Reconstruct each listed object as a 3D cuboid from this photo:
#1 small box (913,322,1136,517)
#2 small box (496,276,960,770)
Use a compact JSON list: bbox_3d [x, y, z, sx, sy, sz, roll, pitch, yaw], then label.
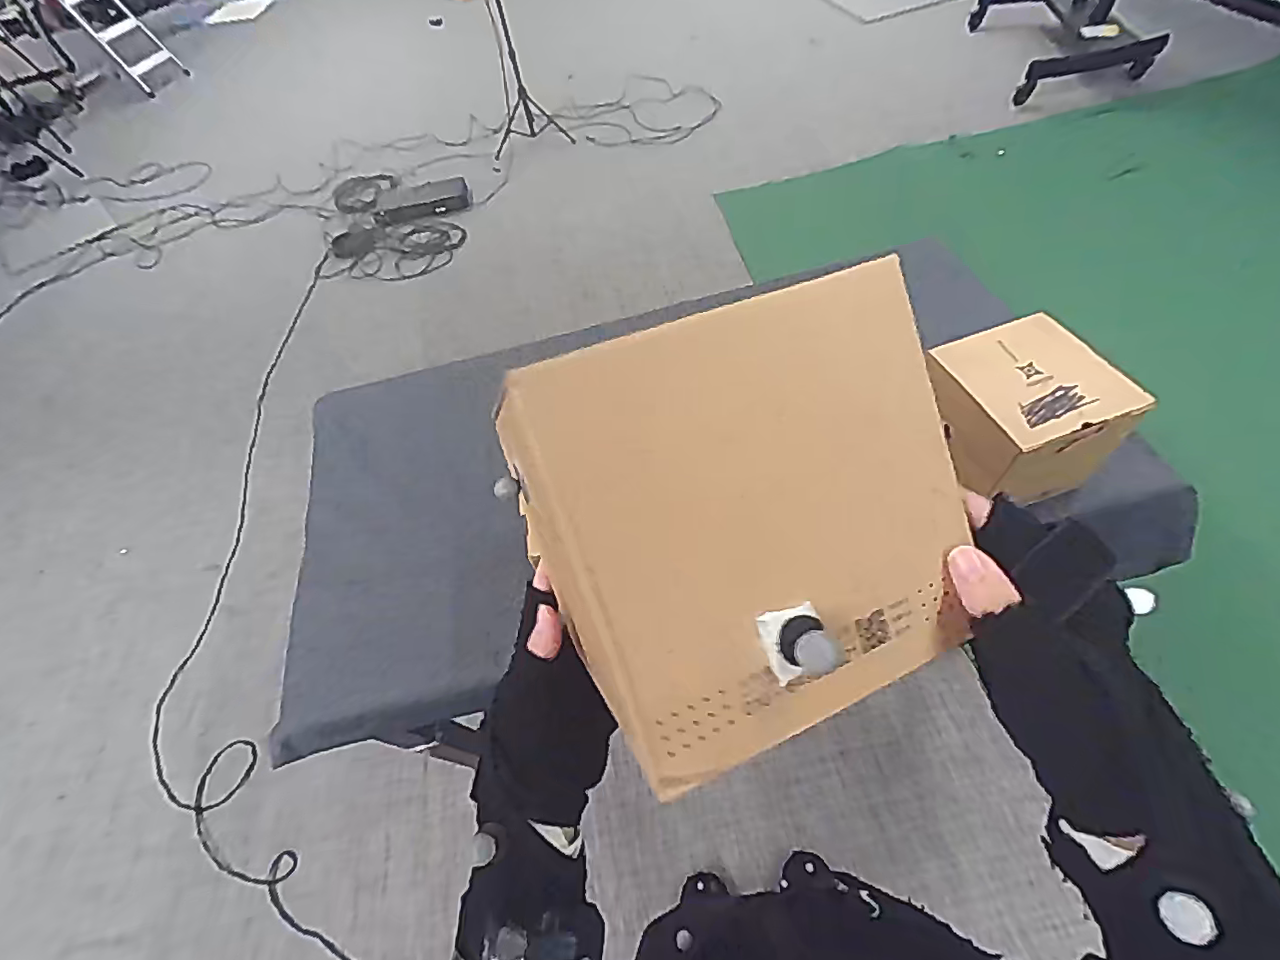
[{"bbox_3d":[0.469,-0.070,0.714,0.168,0.176,0.179,-18,54,-4],"label":"small box"},{"bbox_3d":[0.032,0.014,0.299,0.168,0.179,0.176,-22,100,-17],"label":"small box"}]
